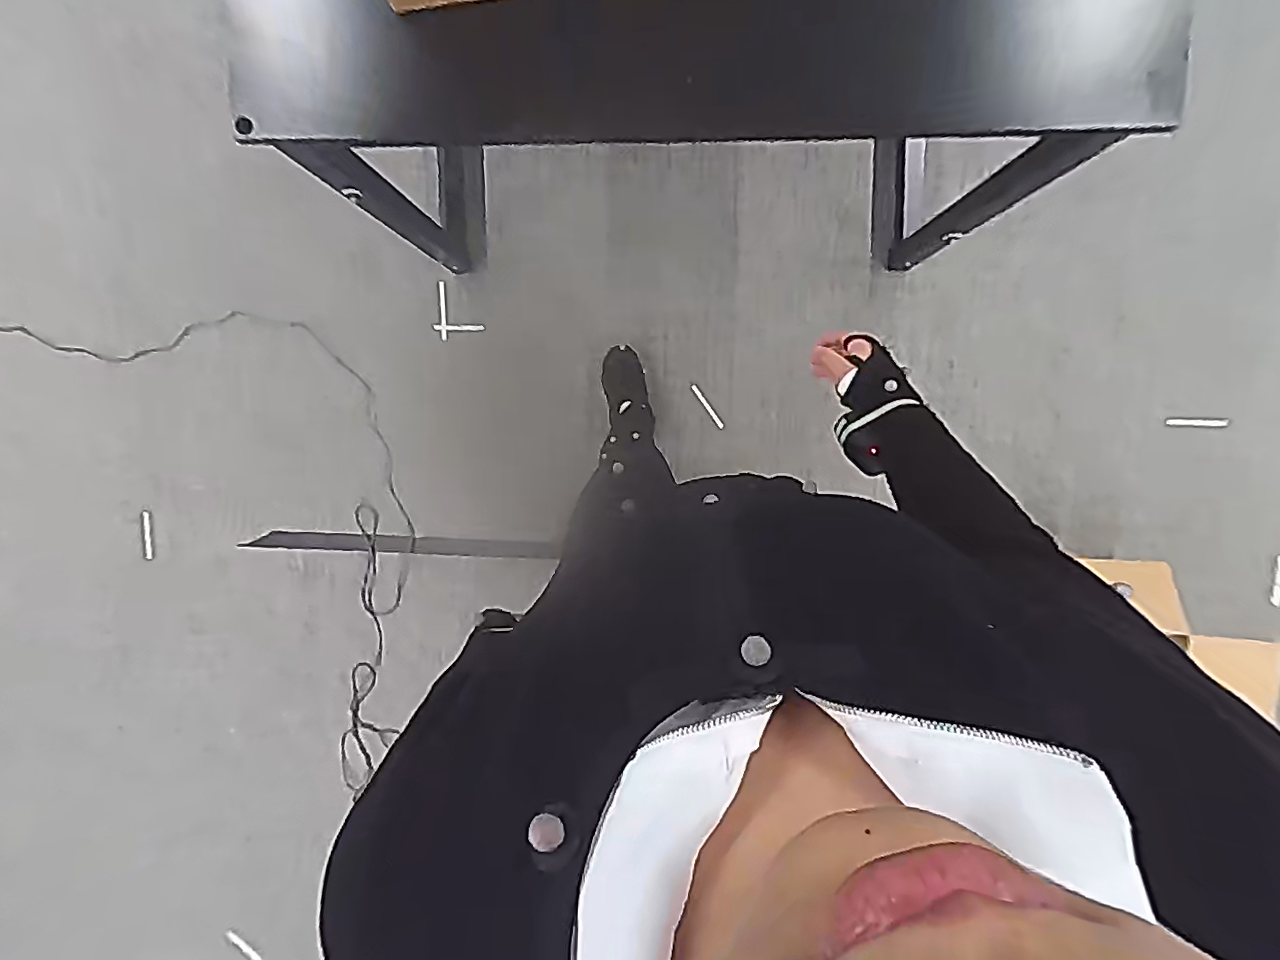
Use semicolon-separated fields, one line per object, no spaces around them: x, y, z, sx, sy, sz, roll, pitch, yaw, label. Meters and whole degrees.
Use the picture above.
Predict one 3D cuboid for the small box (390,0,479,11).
-0.240;-0.676;0.600;0.179;0.176;0.168;-7;96;3;small box
